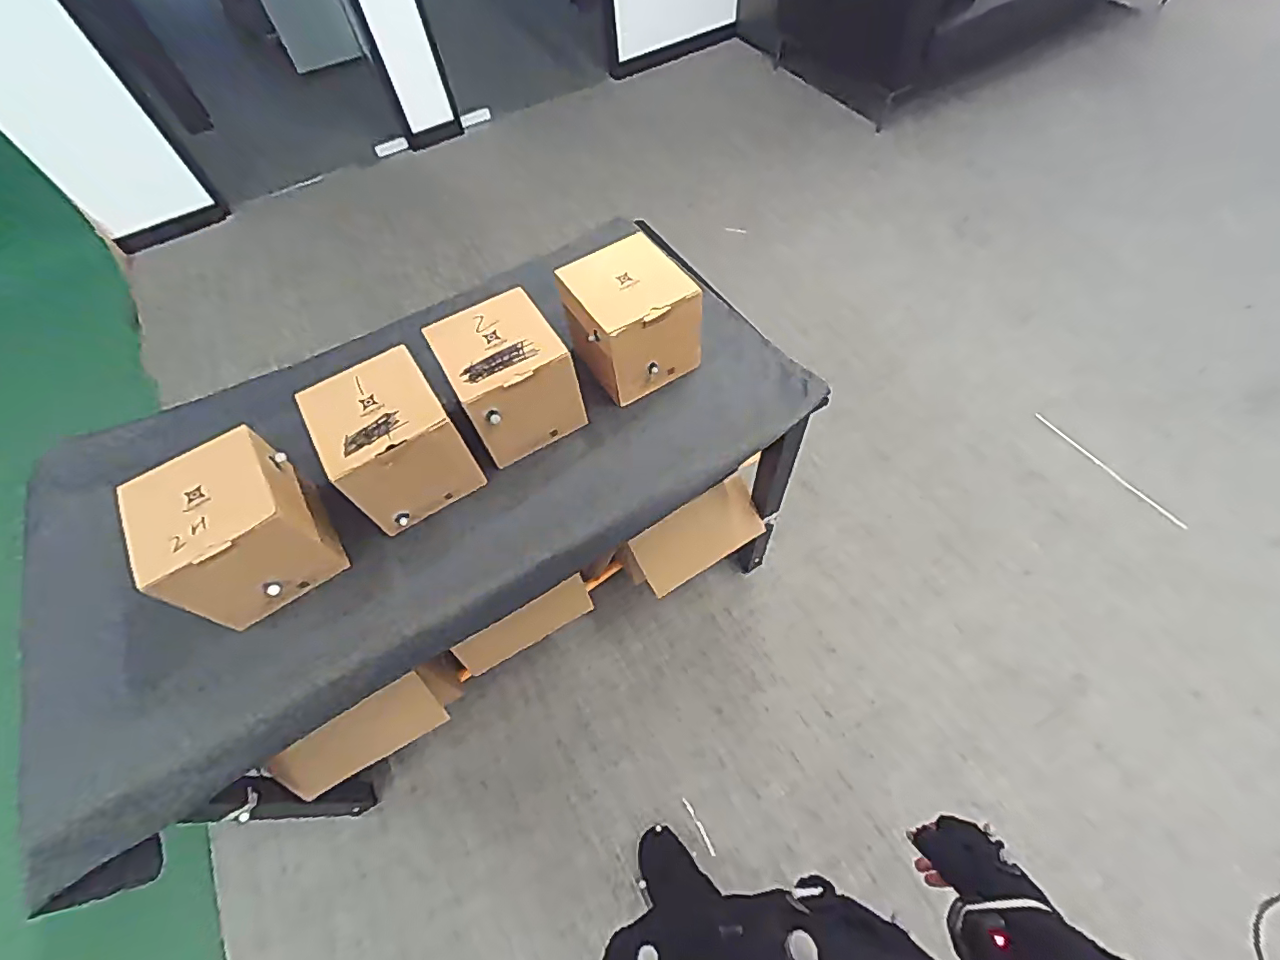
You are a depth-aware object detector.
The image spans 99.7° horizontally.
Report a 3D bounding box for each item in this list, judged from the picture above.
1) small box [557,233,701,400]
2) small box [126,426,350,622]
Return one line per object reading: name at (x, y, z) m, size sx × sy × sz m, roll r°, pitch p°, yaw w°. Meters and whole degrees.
small box at (-0.015, -0.268, 0.900) m, size 0.168 × 0.176 × 0.179 m, roll -30°, pitch 62°, yaw -13°
small box at (-0.541, 0.066, 0.745) m, size 0.168 × 0.176 × 0.179 m, roll -33°, pitch 63°, yaw -14°
